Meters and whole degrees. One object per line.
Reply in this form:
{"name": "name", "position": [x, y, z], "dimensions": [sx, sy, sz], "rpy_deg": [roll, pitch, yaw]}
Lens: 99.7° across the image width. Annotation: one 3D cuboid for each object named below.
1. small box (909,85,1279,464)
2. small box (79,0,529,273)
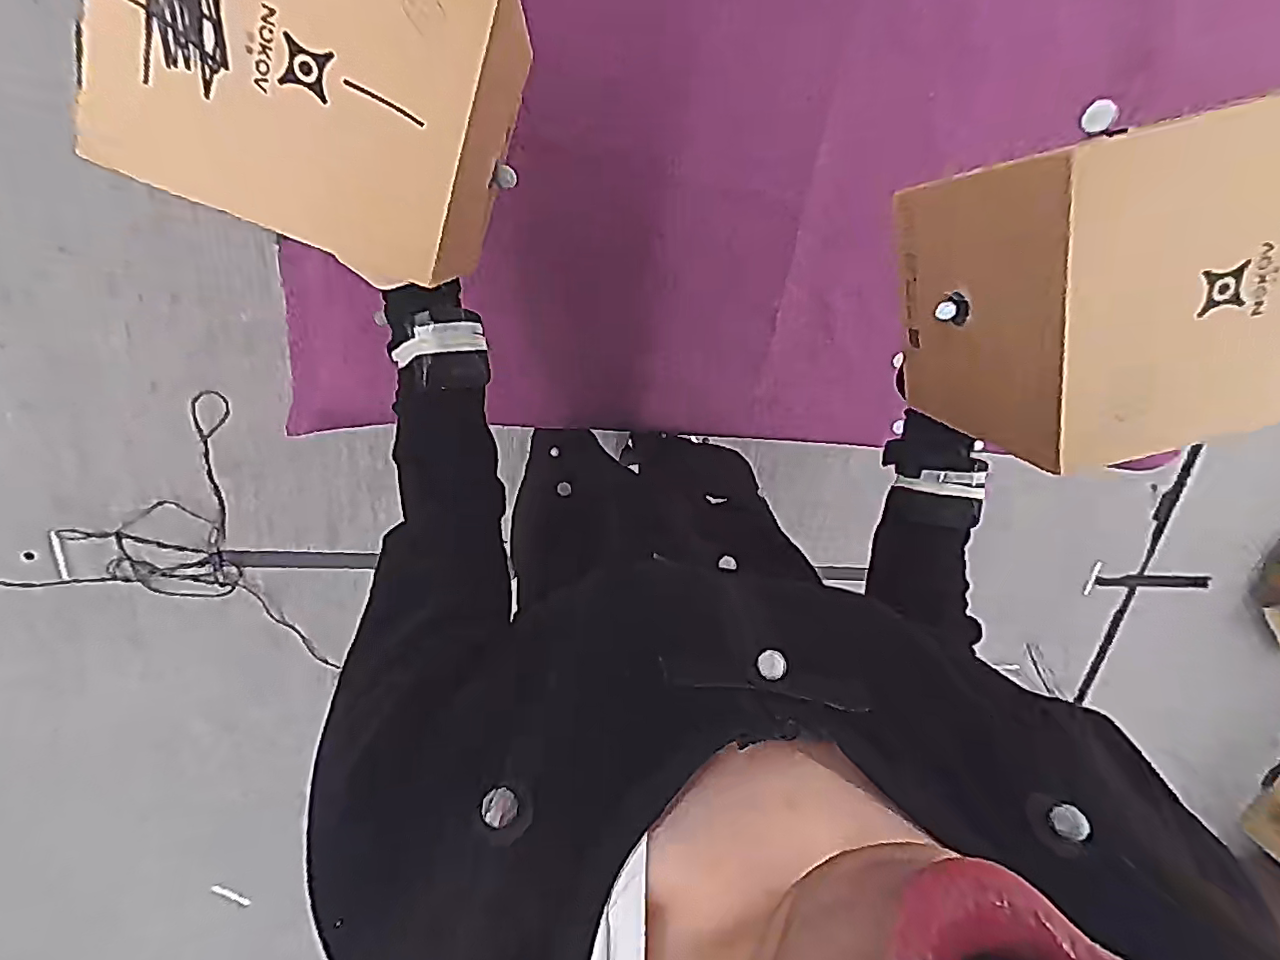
{"name": "small box", "position": [0.292, -0.129, 0.345], "dimensions": [0.179, 0.176, 0.168], "rpy_deg": [-14, 112, 2]}
{"name": "small box", "position": [-0.179, -0.246, 0.336], "dimensions": [0.179, 0.176, 0.168], "rpy_deg": [18, 112, -16]}
